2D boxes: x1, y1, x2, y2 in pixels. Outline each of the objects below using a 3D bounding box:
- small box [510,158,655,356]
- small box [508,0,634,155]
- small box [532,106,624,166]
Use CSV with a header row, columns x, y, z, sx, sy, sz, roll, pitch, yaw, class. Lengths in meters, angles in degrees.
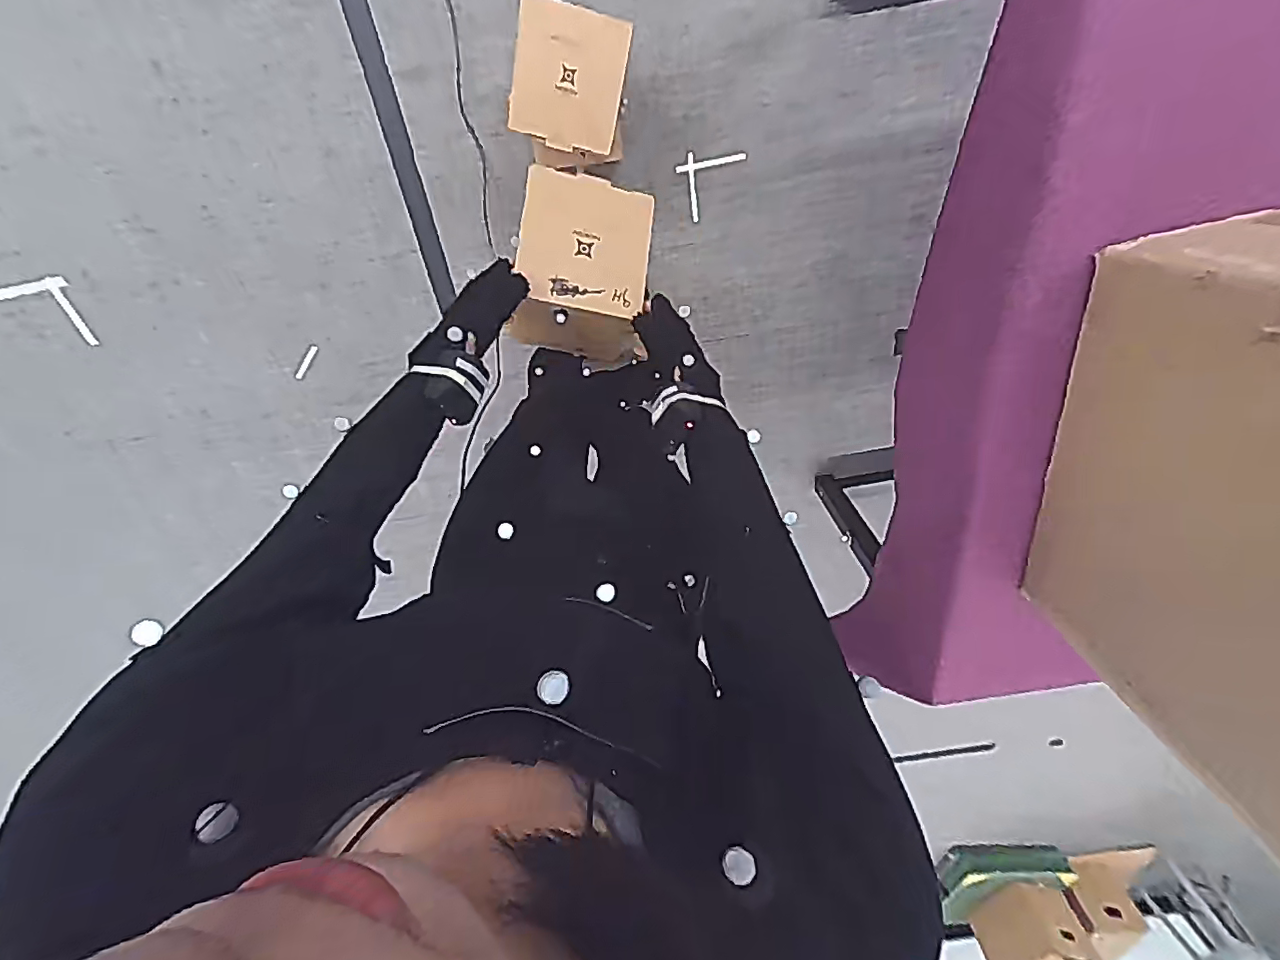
x,y,z,sx,sy,sz,roll,pitch,yaw,class
-0.087,-0.293,0.749,0.168,0.176,0.179,8,82,-13,small box
-0.111,-0.646,0.876,0.168,0.176,0.179,9,119,-11,small box
-0.124,-0.705,1.030,0.168,0.176,0.179,-7,122,0,small box
